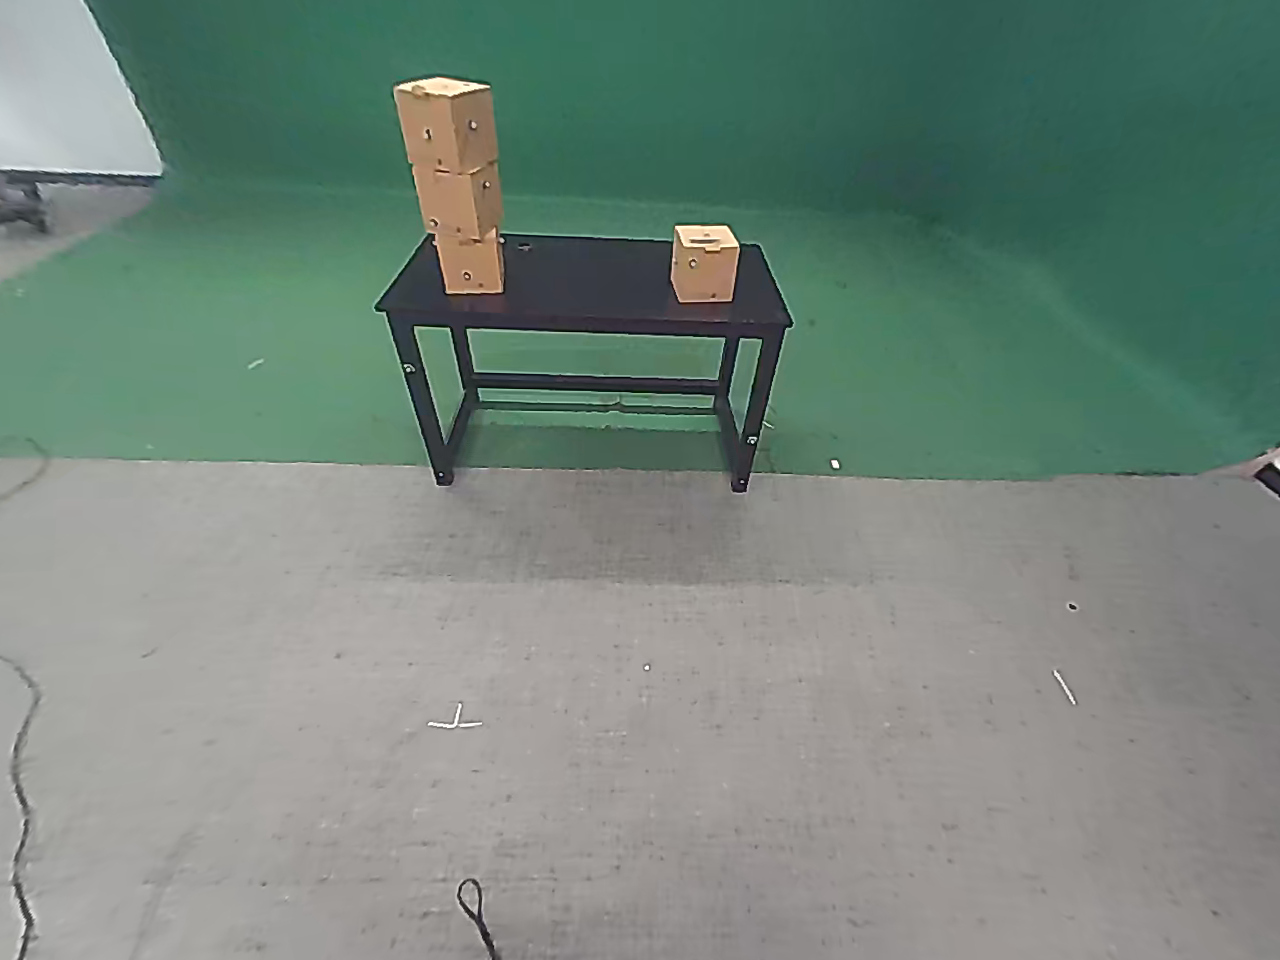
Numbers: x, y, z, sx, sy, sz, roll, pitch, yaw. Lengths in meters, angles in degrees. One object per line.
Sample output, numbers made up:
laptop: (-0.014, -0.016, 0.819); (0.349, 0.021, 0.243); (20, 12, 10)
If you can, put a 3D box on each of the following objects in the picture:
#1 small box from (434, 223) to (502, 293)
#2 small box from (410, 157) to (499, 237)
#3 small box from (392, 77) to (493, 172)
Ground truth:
small box: (-0.510, -0.678, 1.624); (0.168, 0.176, 0.179); (-4, 46, -9)
small box: (-0.505, -0.796, 1.509); (0.168, 0.176, 0.179); (11, 44, 6)
small box: (-0.499, -0.918, 1.399); (0.168, 0.176, 0.179); (19, 48, 13)
